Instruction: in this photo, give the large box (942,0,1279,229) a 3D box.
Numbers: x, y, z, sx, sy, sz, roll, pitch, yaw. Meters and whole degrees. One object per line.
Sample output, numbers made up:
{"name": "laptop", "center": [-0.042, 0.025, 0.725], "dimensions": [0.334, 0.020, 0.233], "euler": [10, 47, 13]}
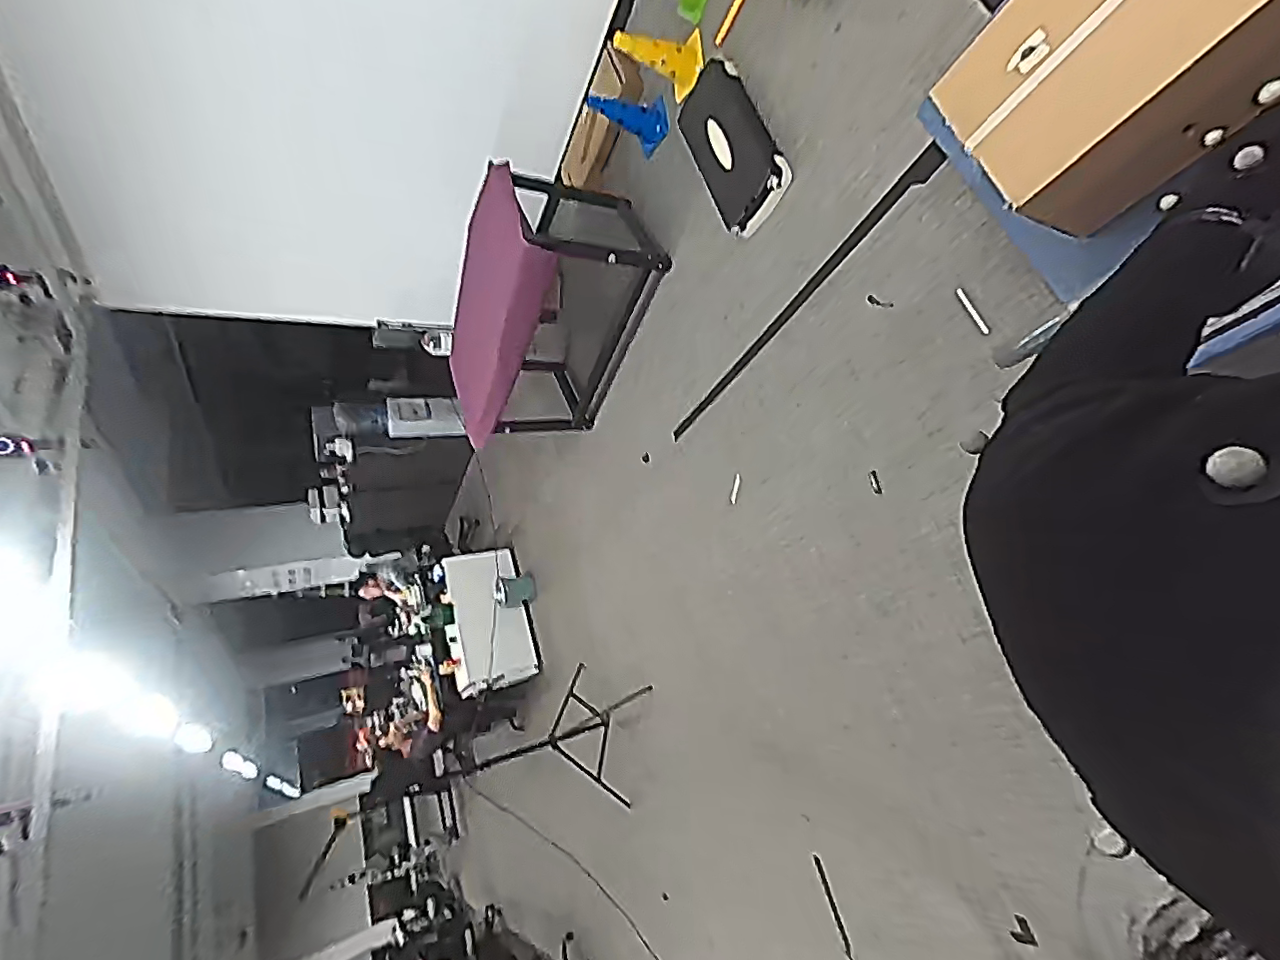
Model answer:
{"name": "large box", "center": [0.827, -0.705, 0.897], "dimensions": [0.408, 0.320, 0.320], "euler": [-46, 56, 52]}
